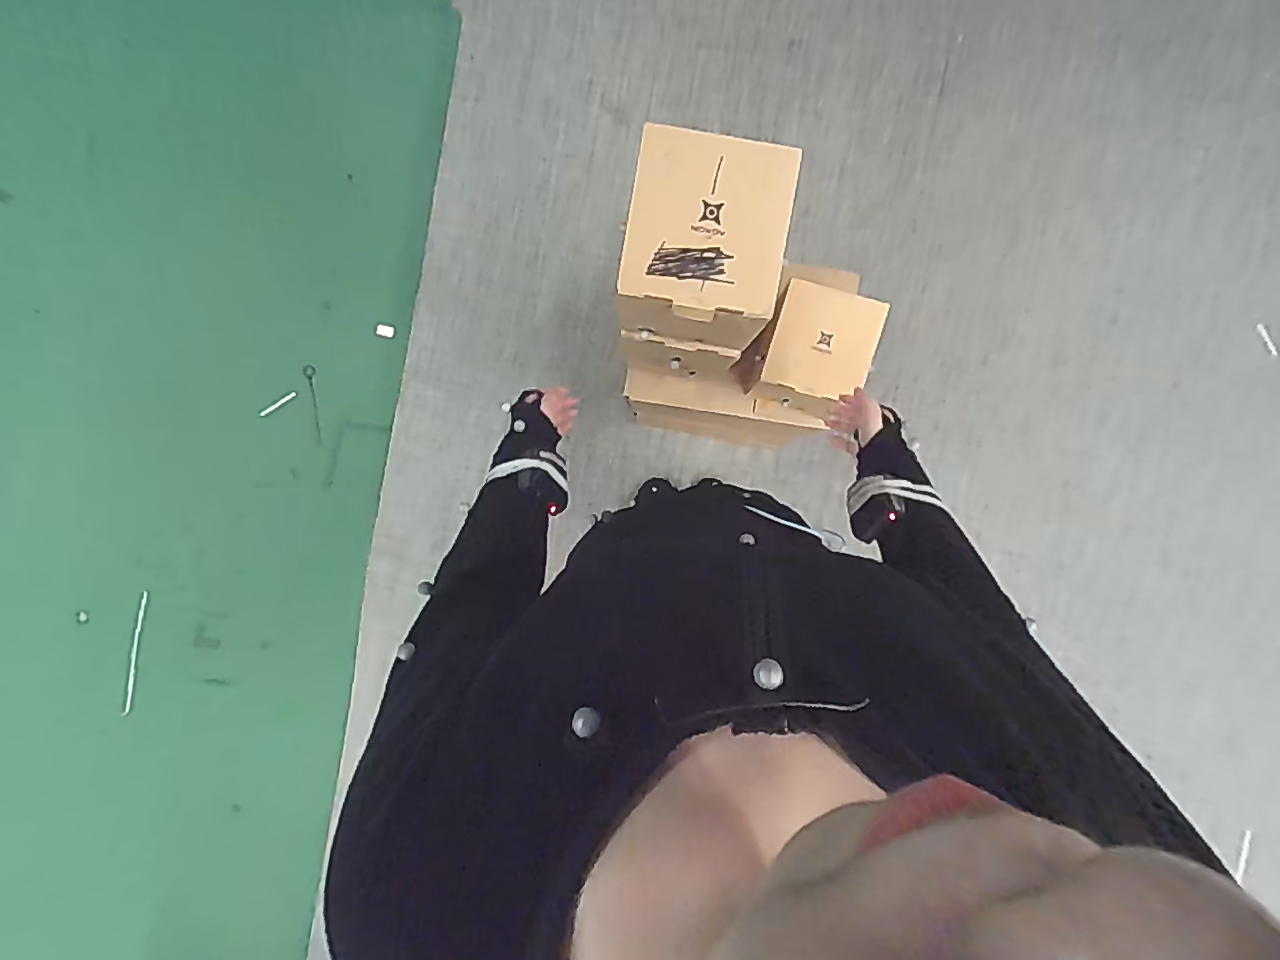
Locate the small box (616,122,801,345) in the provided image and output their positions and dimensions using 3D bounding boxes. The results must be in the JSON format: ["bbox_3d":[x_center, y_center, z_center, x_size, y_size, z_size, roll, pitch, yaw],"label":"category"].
[{"bbox_3d":[0.070,-0.267,0.629,0.168,0.176,0.179,9,91,0],"label":"small box"}]

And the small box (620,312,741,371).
[{"bbox_3d":[0.069,-0.266,0.794,0.168,0.176,0.179,10,93,0],"label":"small box"}]

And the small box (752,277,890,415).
[{"bbox_3d":[0.303,-0.224,0.947,0.168,0.176,0.179,17,92,4],"label":"small box"}]

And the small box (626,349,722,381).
[{"bbox_3d":[0.076,-0.281,0.957,0.168,0.176,0.179,12,92,0],"label":"small box"}]
